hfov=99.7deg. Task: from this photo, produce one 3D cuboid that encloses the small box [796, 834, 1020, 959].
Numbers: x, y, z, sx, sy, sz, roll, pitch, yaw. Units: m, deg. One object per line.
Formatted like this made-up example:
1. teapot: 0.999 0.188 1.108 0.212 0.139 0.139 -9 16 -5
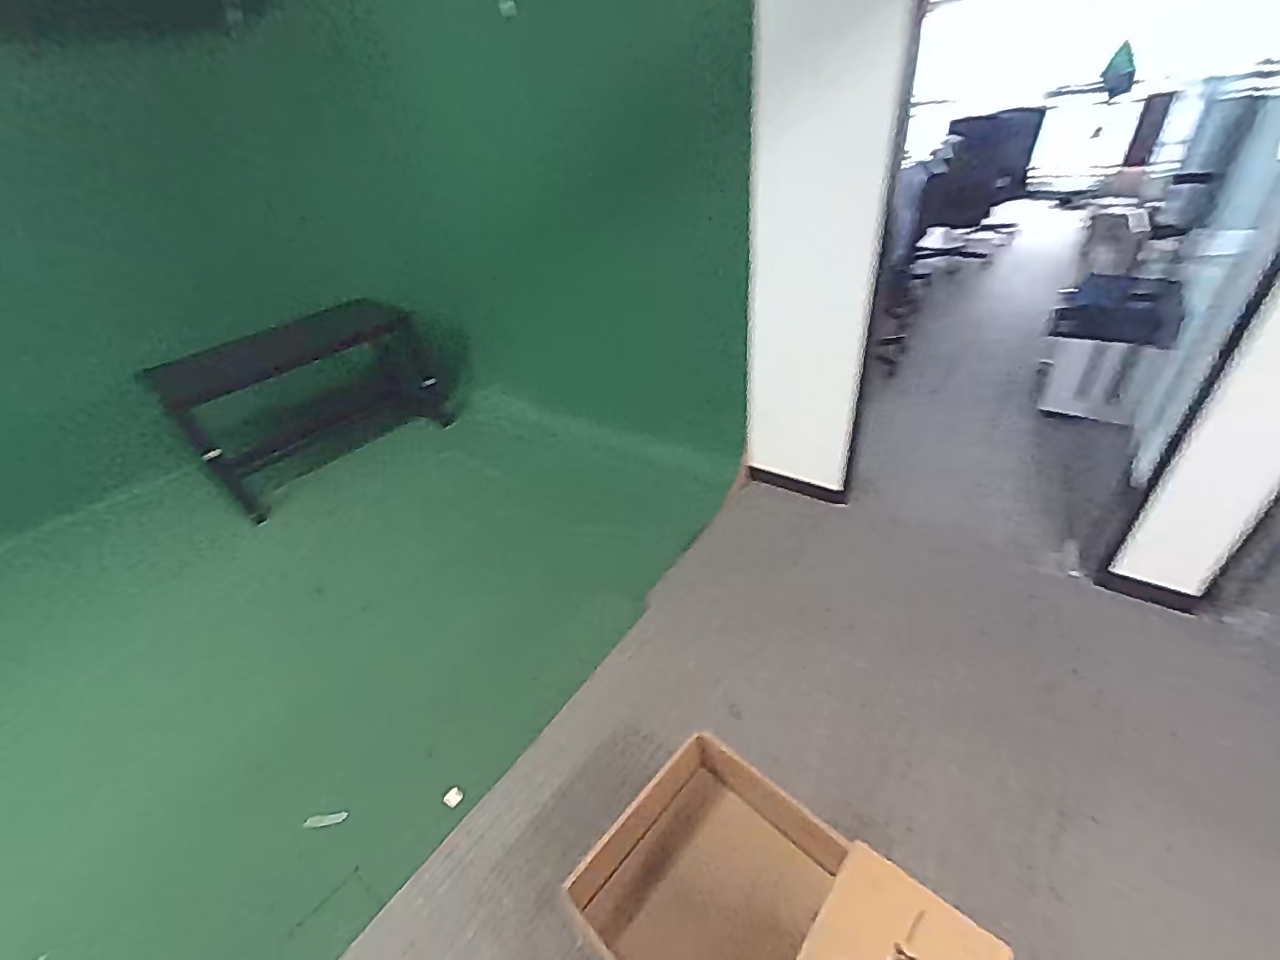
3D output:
1. small box: 0.275 0.550 0.589 0.168 0.176 0.179 24 46 36
